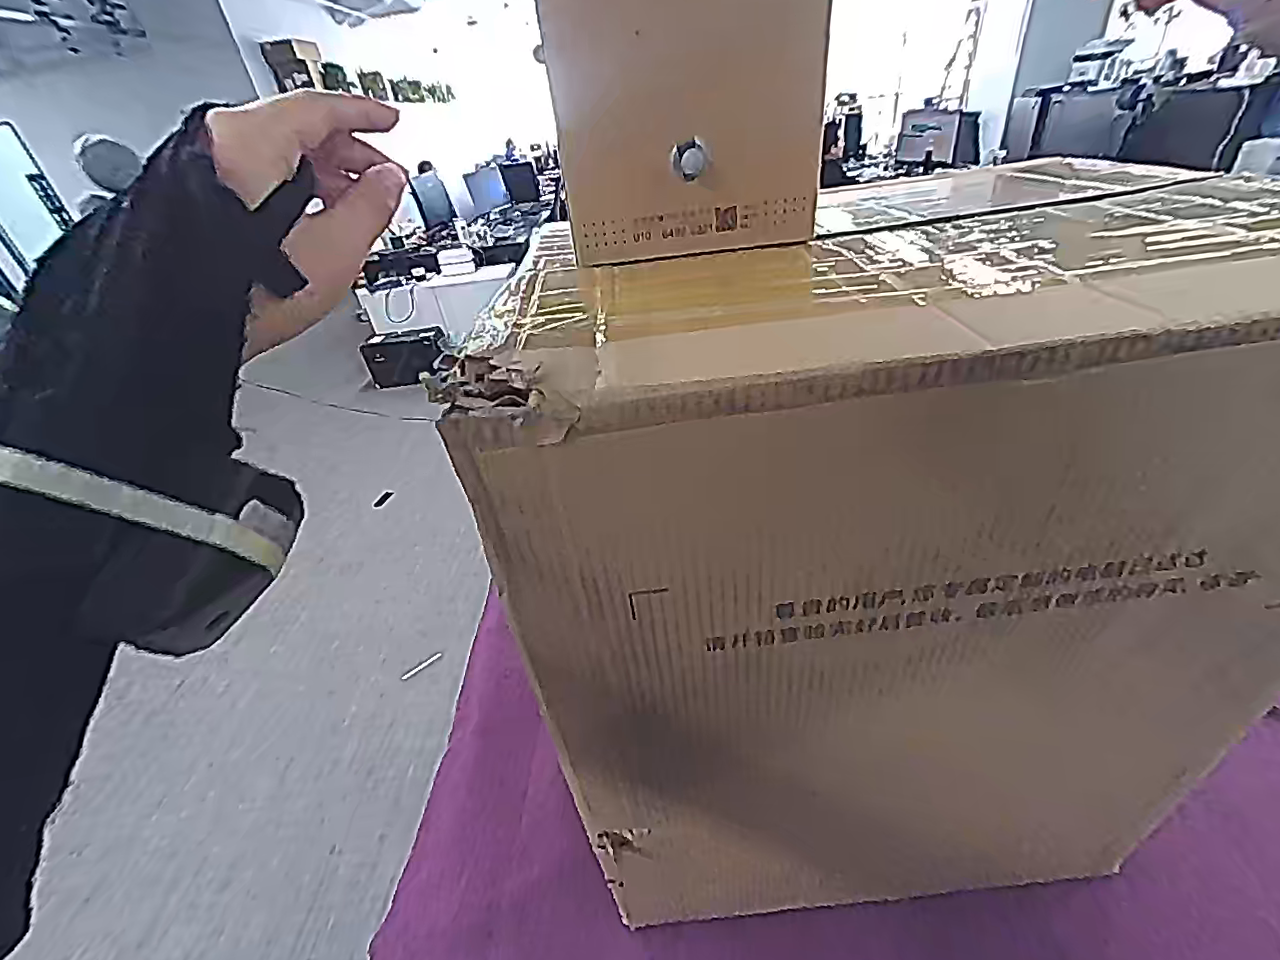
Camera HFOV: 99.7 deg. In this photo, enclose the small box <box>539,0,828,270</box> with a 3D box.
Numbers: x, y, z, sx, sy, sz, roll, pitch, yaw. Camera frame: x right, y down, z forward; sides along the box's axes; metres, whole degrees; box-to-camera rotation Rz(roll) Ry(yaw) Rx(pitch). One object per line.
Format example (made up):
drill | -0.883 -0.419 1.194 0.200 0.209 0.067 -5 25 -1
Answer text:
small box | 0.026 -0.266 0.405 0.168 0.176 0.179 -7 35 1
